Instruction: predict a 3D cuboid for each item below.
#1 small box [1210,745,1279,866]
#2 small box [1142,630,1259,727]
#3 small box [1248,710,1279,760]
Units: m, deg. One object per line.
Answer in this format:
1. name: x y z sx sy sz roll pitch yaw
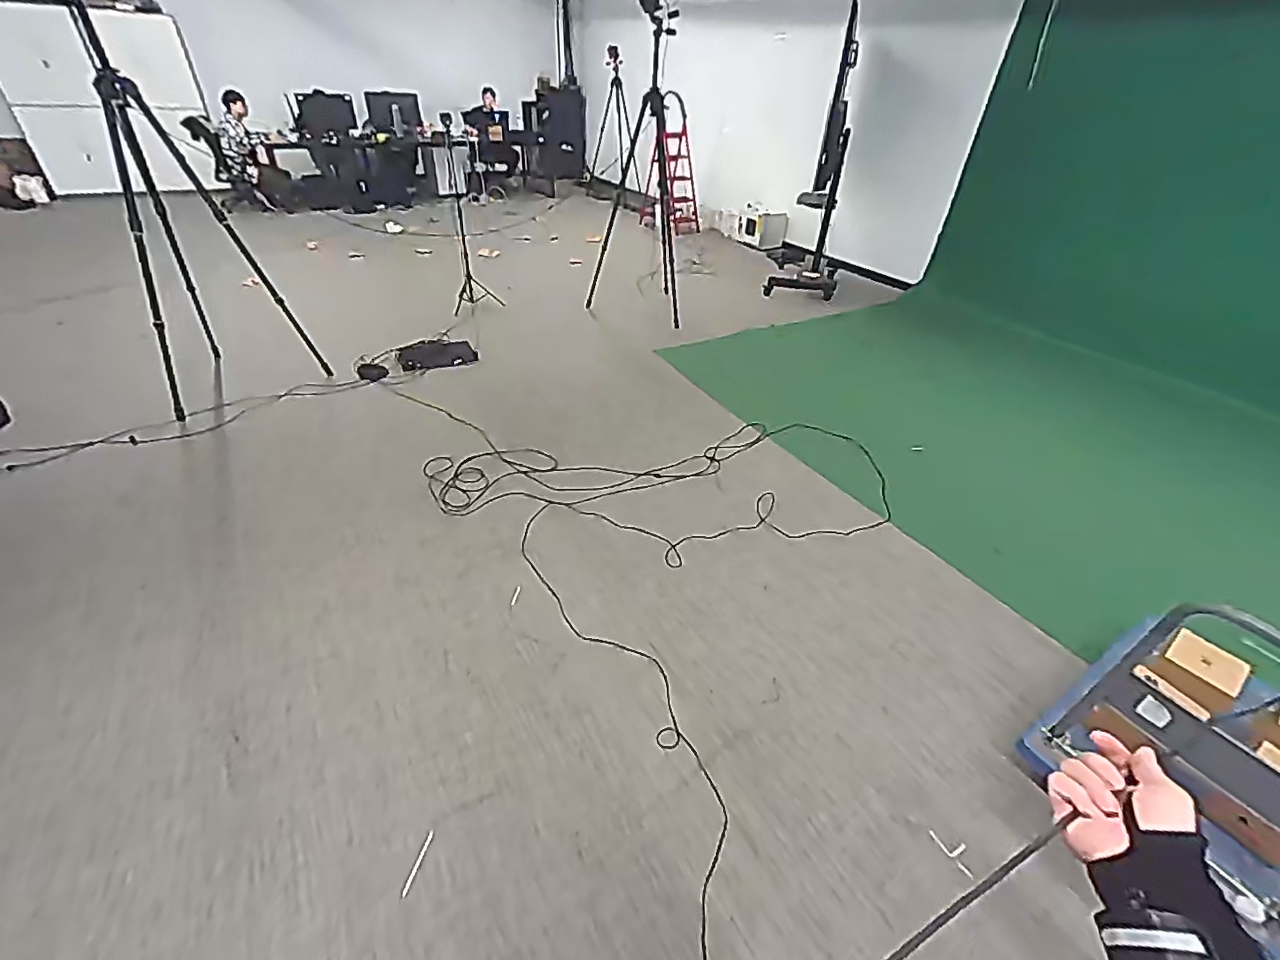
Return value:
1. small box: 1.570 0.798 1.323 0.179 0.176 0.168 -20 43 -25
2. small box: 1.647 0.589 1.600 0.179 0.176 0.168 -23 44 -29
3. small box: 1.797 0.715 1.442 0.179 0.176 0.168 -24 43 -28
